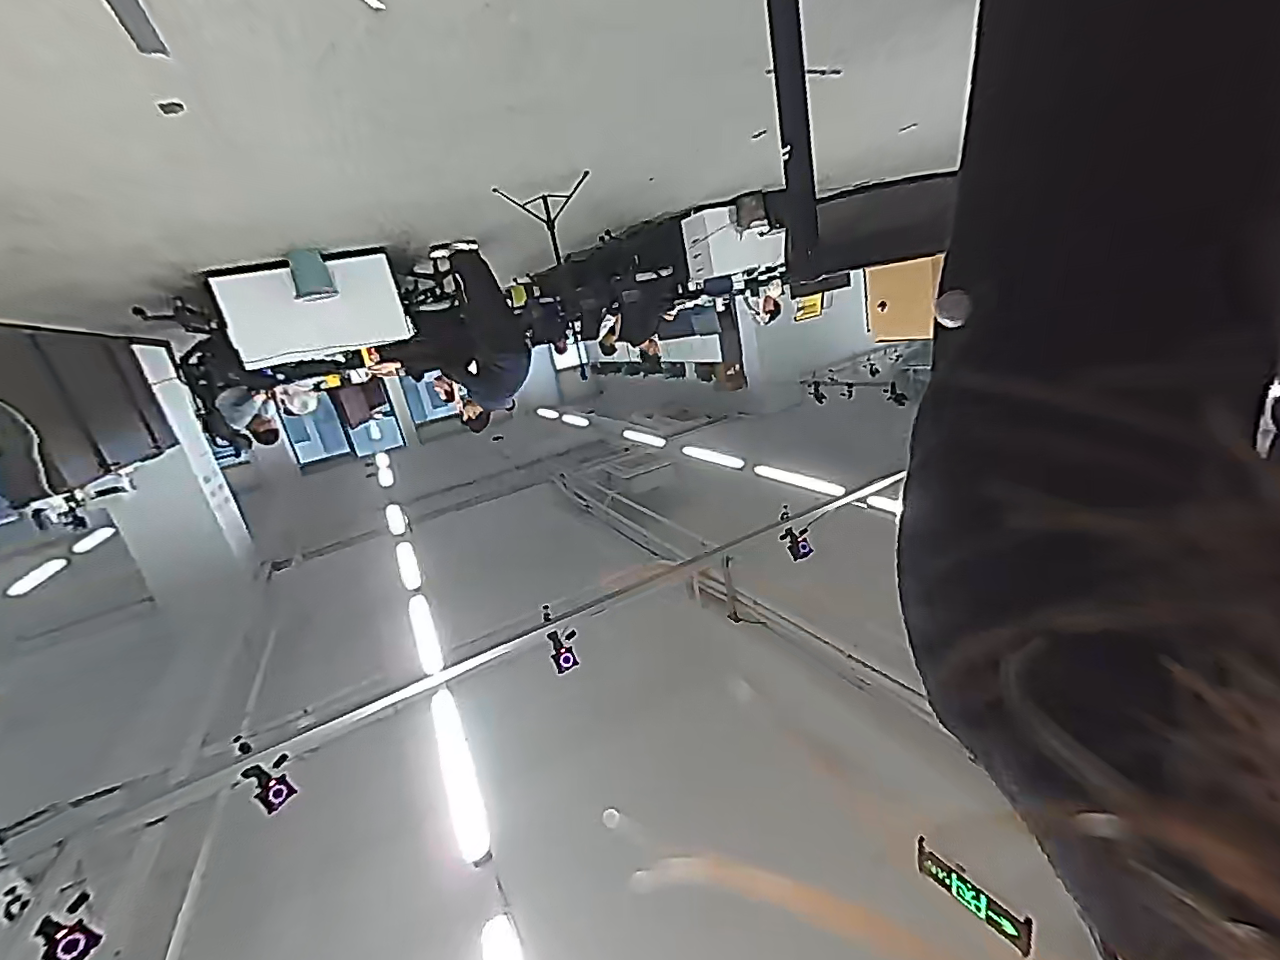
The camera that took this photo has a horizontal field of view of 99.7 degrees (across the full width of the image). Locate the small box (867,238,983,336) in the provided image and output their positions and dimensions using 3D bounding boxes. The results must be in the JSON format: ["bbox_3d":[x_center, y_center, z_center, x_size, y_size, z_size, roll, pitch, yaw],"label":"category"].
[{"bbox_3d":[0.622,-0.422,1.189,0.168,0.176,0.179,-21,-160,-18],"label":"small box"}]
